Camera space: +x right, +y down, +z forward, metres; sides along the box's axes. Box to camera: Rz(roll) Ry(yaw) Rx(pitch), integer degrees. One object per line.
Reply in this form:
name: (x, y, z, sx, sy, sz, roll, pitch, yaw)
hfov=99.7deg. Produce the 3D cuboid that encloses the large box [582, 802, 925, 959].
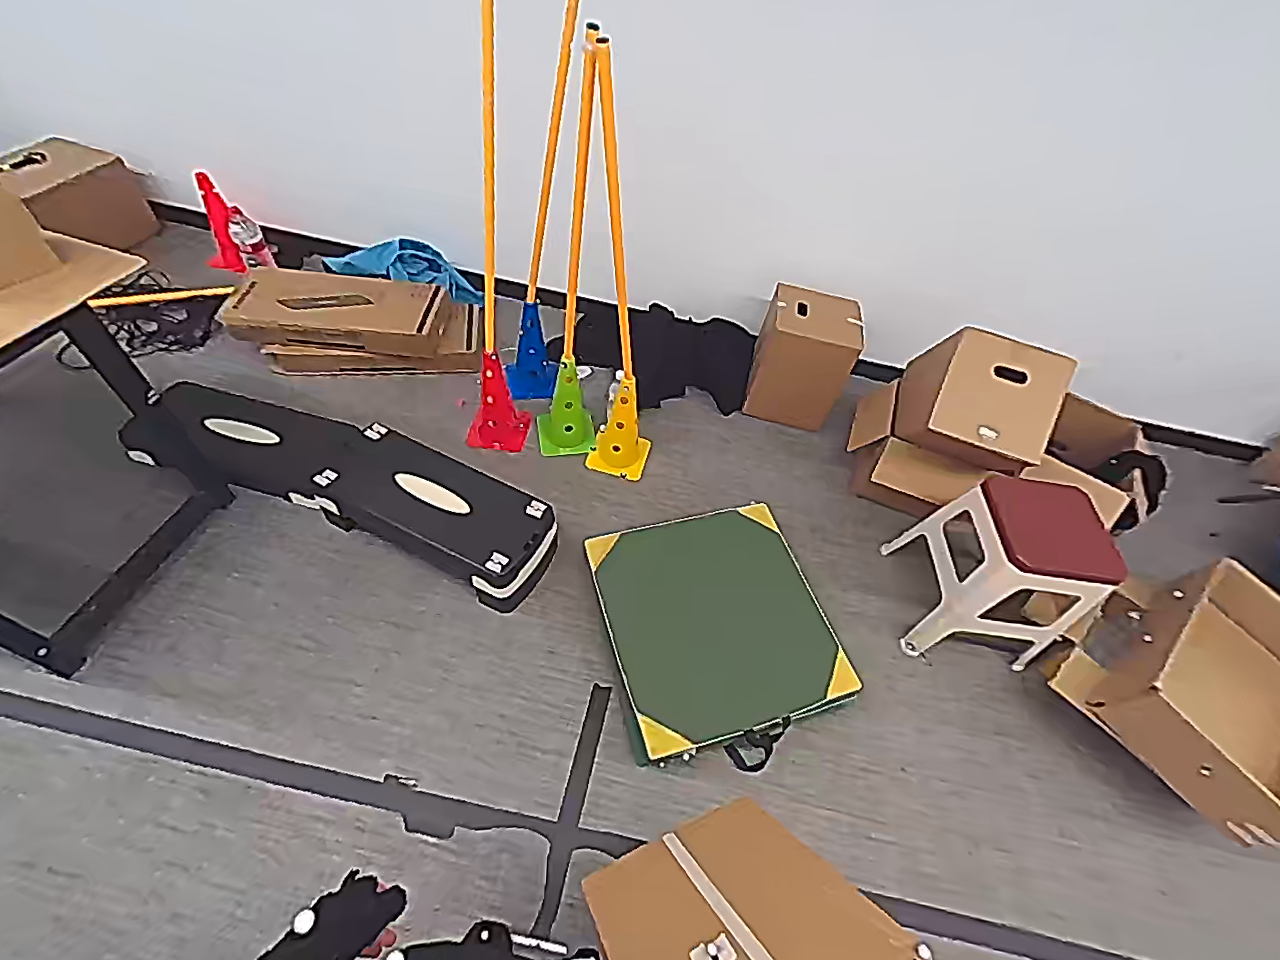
large box: (0.148, 0.728, 0.721, 0.320, 0.408, 0.320, -15, 89, -20)
